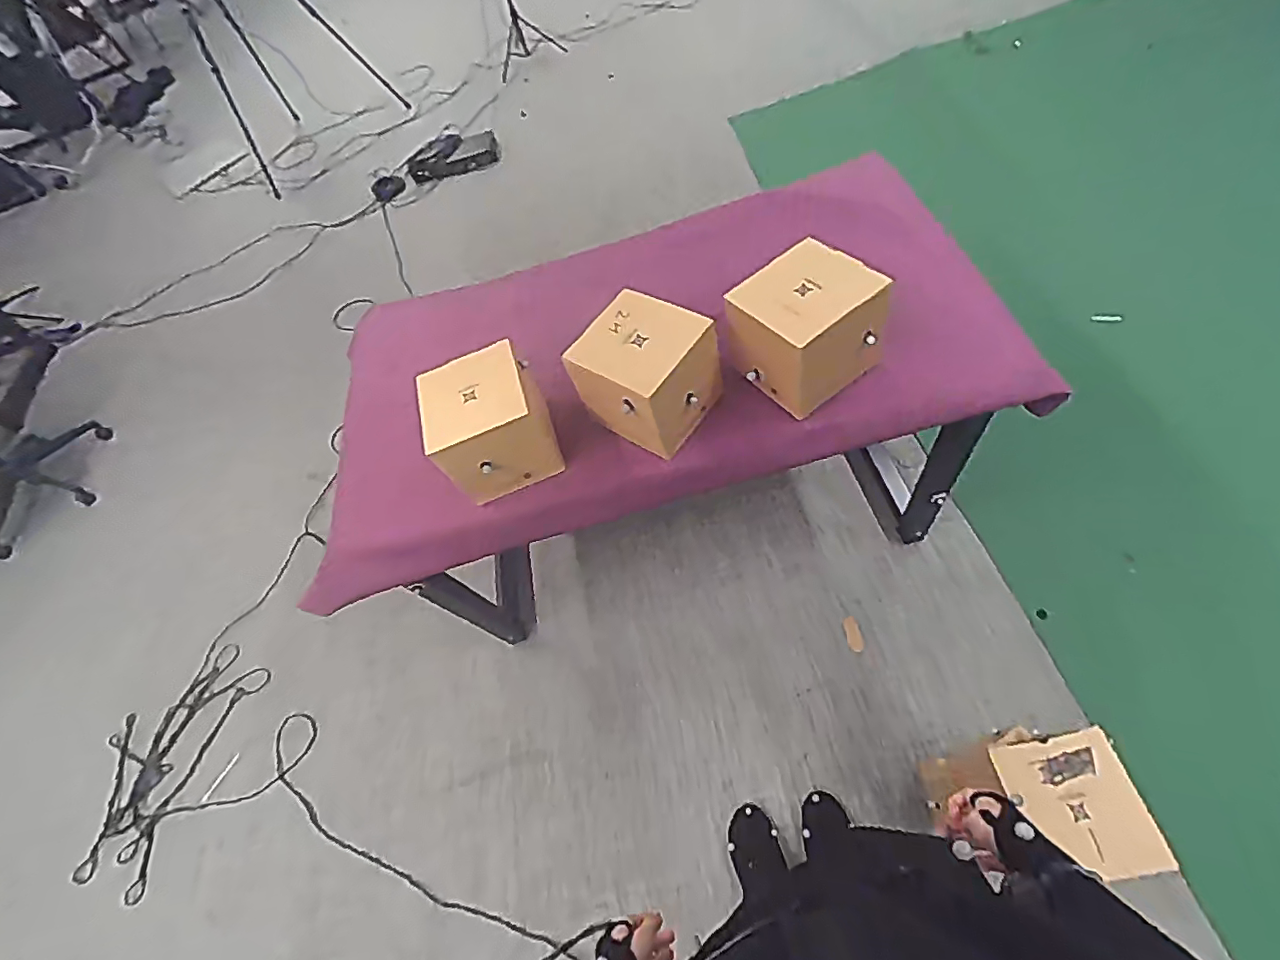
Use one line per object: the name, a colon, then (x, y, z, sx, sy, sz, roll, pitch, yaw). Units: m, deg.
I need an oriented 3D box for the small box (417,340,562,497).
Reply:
small box: (-0.245, -0.091, 0.900, 0.168, 0.176, 0.179, -22, 56, 1)

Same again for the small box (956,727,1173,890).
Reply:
small box: (0.616, 0.490, 0.819, 0.168, 0.176, 0.179, -14, 60, 5)

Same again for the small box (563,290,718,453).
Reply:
small box: (0.011, -0.169, 0.878, 0.179, 0.176, 0.168, 30, 71, 27)

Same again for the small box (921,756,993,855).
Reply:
small box: (0.688, 0.656, 1.094, 0.179, 0.176, 0.168, -7, 60, 10)

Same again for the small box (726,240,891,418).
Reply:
small box: (0.258, -0.234, 0.854, 0.179, 0.176, 0.168, -36, 56, -7)
